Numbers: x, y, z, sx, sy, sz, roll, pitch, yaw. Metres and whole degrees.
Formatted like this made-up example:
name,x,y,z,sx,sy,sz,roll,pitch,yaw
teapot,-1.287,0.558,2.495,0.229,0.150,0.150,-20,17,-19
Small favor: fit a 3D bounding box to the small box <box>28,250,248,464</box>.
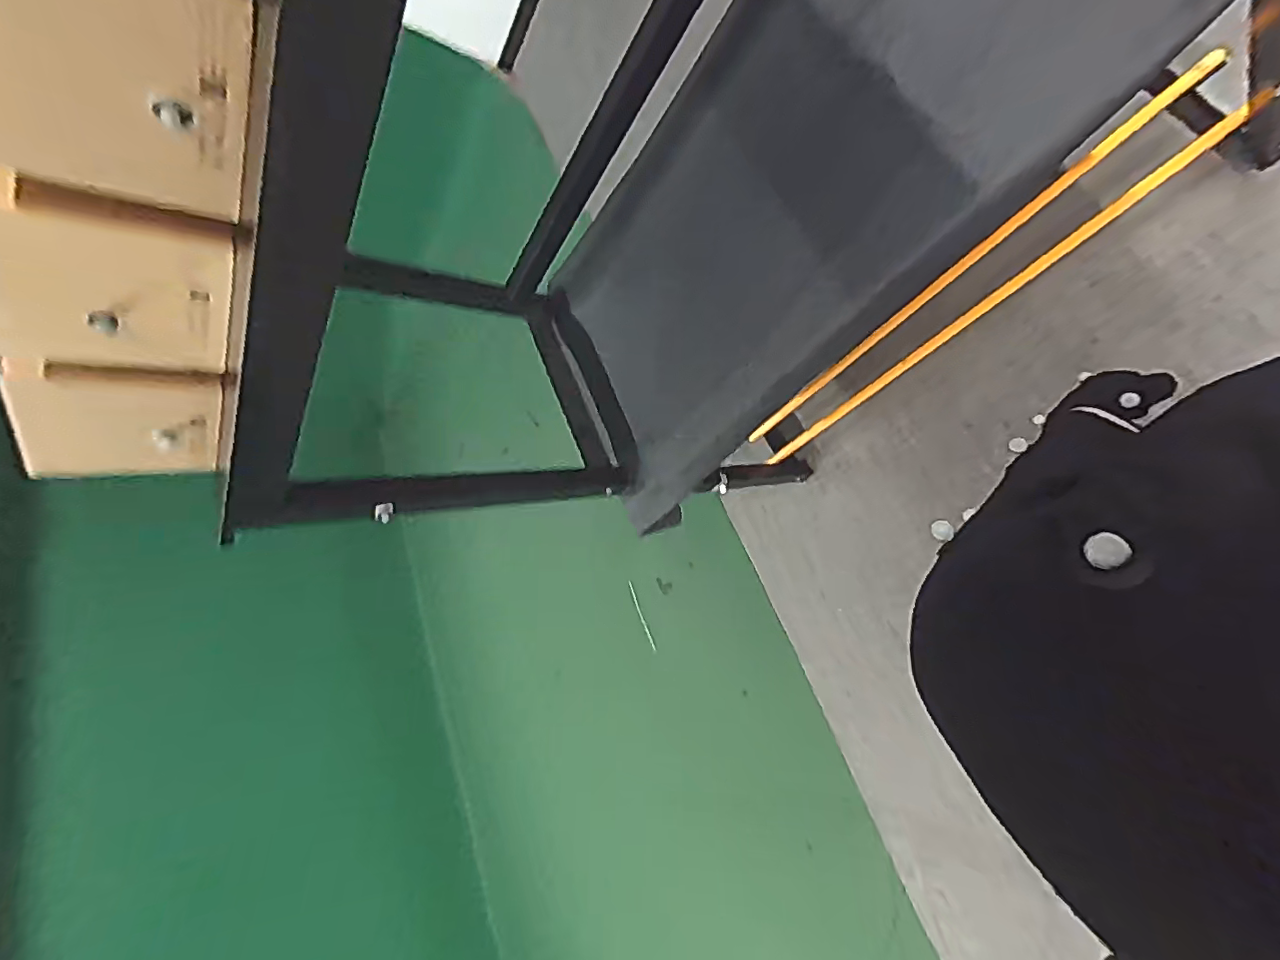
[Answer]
name,x,y,z,sx,sy,sz,roll,pitch,yaw
small box,-0.587,-0.133,0.644,0.168,0.176,0.179,-44,62,41
